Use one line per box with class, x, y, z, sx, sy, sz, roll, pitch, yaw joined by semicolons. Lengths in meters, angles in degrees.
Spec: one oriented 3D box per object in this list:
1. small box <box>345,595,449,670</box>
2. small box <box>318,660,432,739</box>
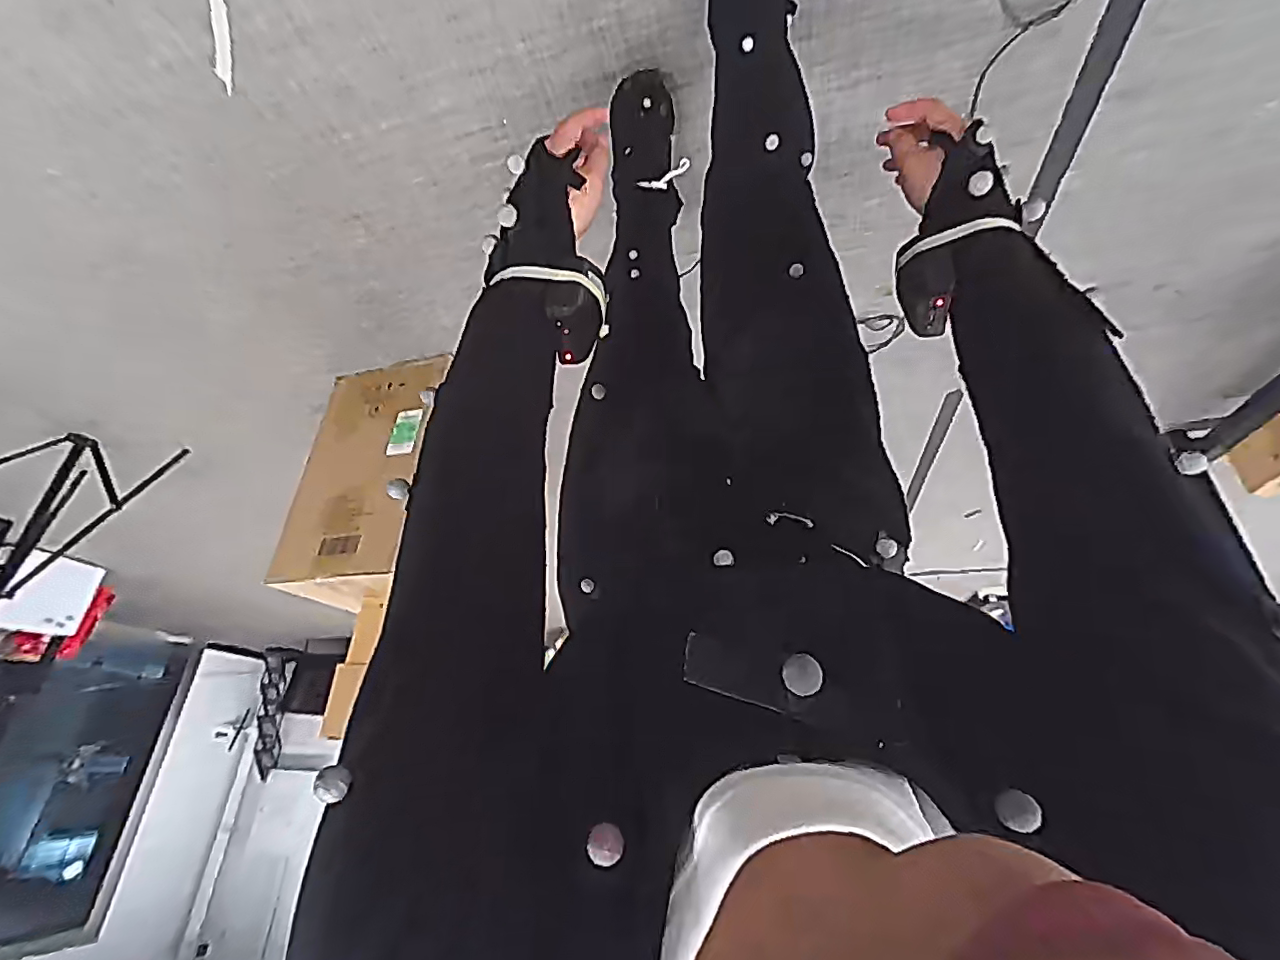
small box;-0.628;0.401;1.418;0.168;0.176;0.179;-5;153;12
small box;-0.647;0.547;1.342;0.179;0.176;0.168;-6;153;11
